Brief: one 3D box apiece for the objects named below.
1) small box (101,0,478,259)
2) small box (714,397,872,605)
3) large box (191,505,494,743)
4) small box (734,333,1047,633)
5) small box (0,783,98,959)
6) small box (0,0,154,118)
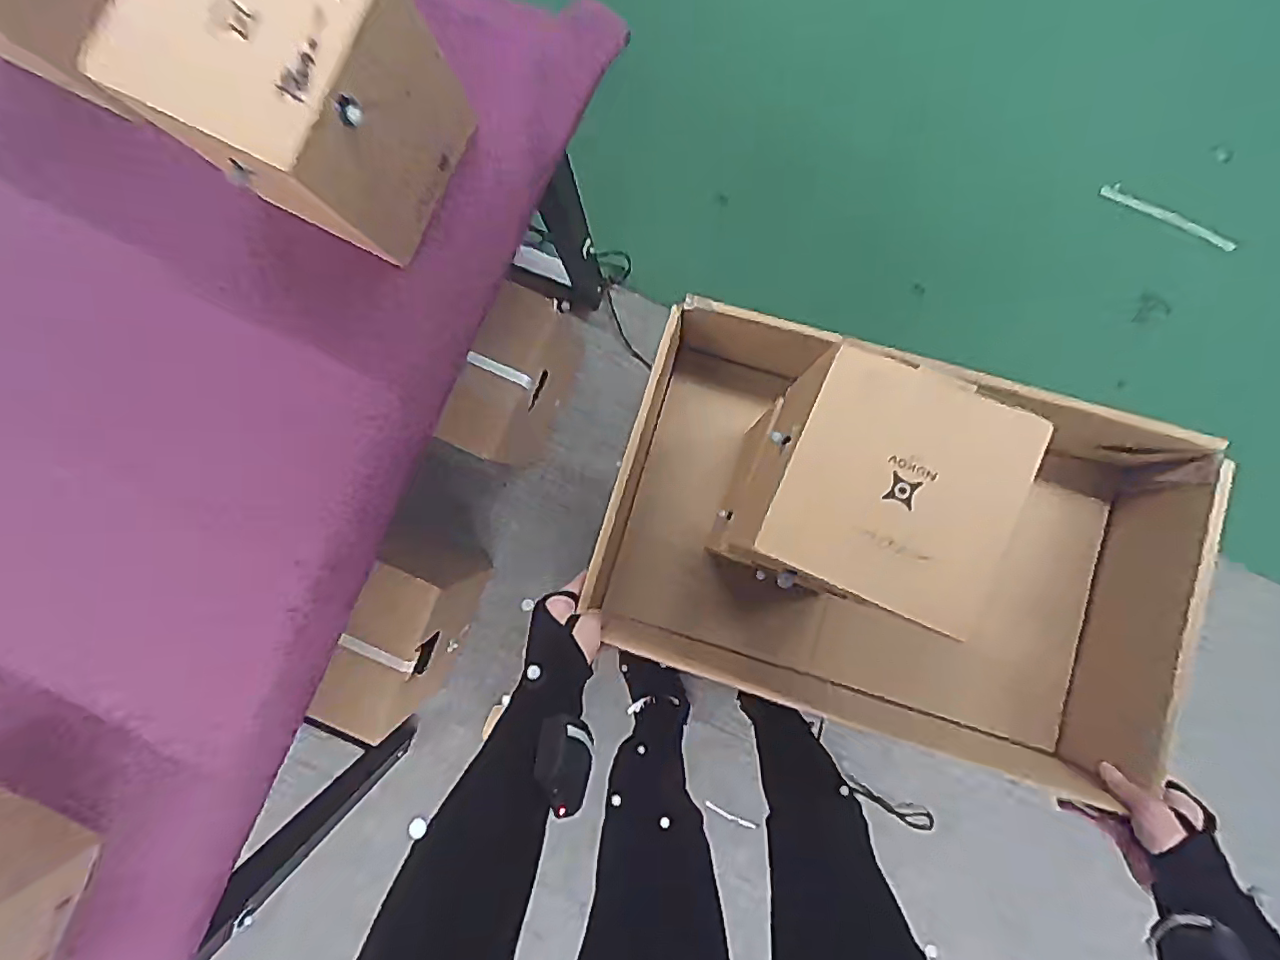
[{"bbox_3d":[-0.274,-0.322,0.464,0.179,0.176,0.168,27,92,5],"label":"small box"},{"bbox_3d":[0.196,0.026,0.639,0.168,0.176,0.179,21,87,2],"label":"small box"},{"bbox_3d":[-0.581,0.266,1.130,0.408,0.320,0.320,22,89,4],"label":"large box"},{"bbox_3d":[0.194,0.006,0.476,0.168,0.176,0.179,24,86,4],"label":"small box"},{"bbox_3d":[-0.647,0.396,0.466,0.179,0.176,0.168,23,89,4],"label":"small box"},{"bbox_3d":[-0.551,-0.471,0.478,0.179,0.176,0.168,26,92,2],"label":"small box"}]
